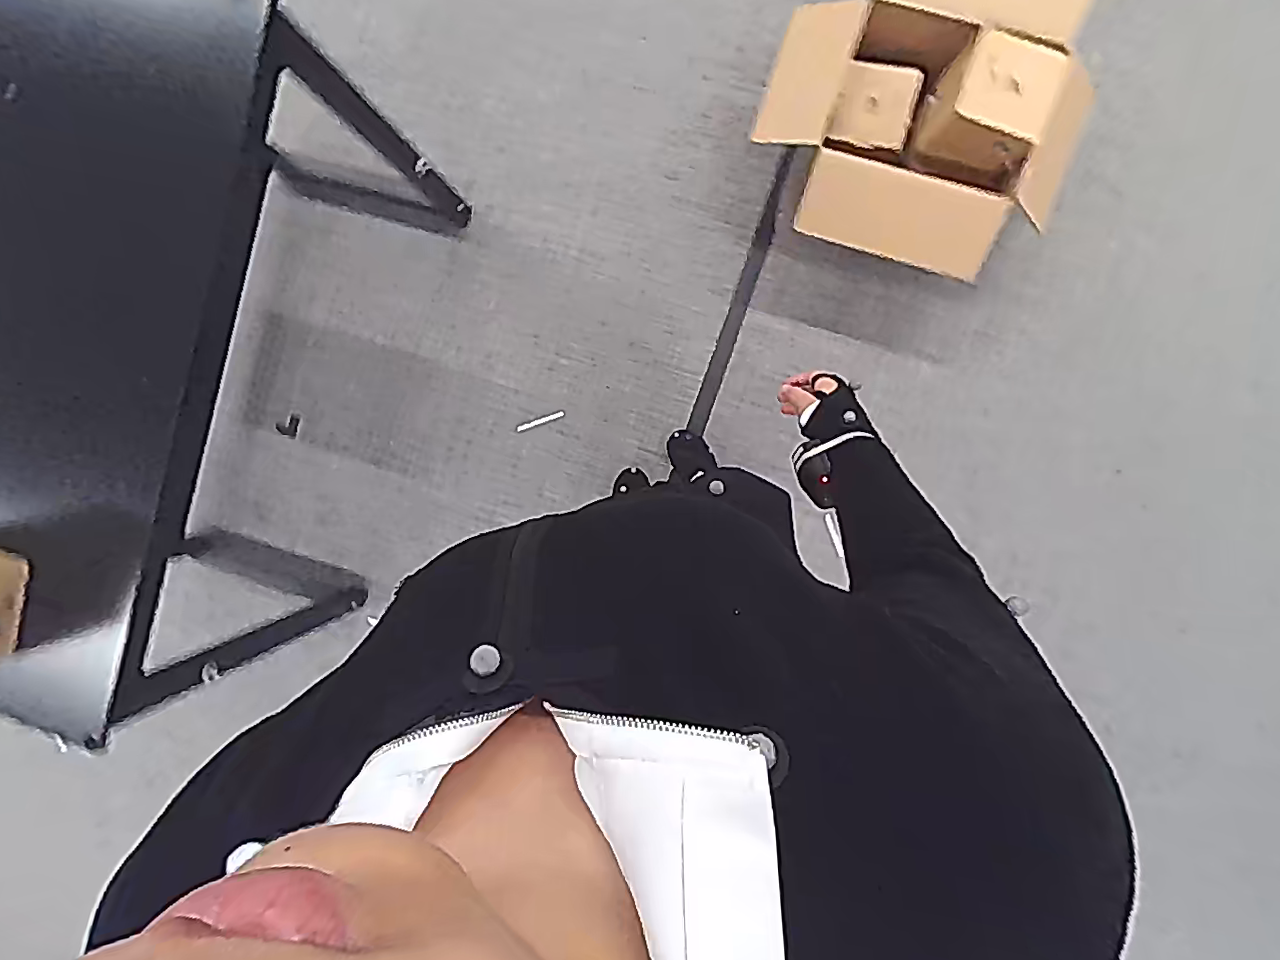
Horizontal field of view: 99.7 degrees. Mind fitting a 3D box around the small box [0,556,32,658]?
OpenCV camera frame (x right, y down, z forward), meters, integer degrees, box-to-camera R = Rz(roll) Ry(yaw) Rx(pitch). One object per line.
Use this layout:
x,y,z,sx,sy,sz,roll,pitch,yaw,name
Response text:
-1.083,0.195,0.797,0.179,0.176,0.168,15,95,4,small box
